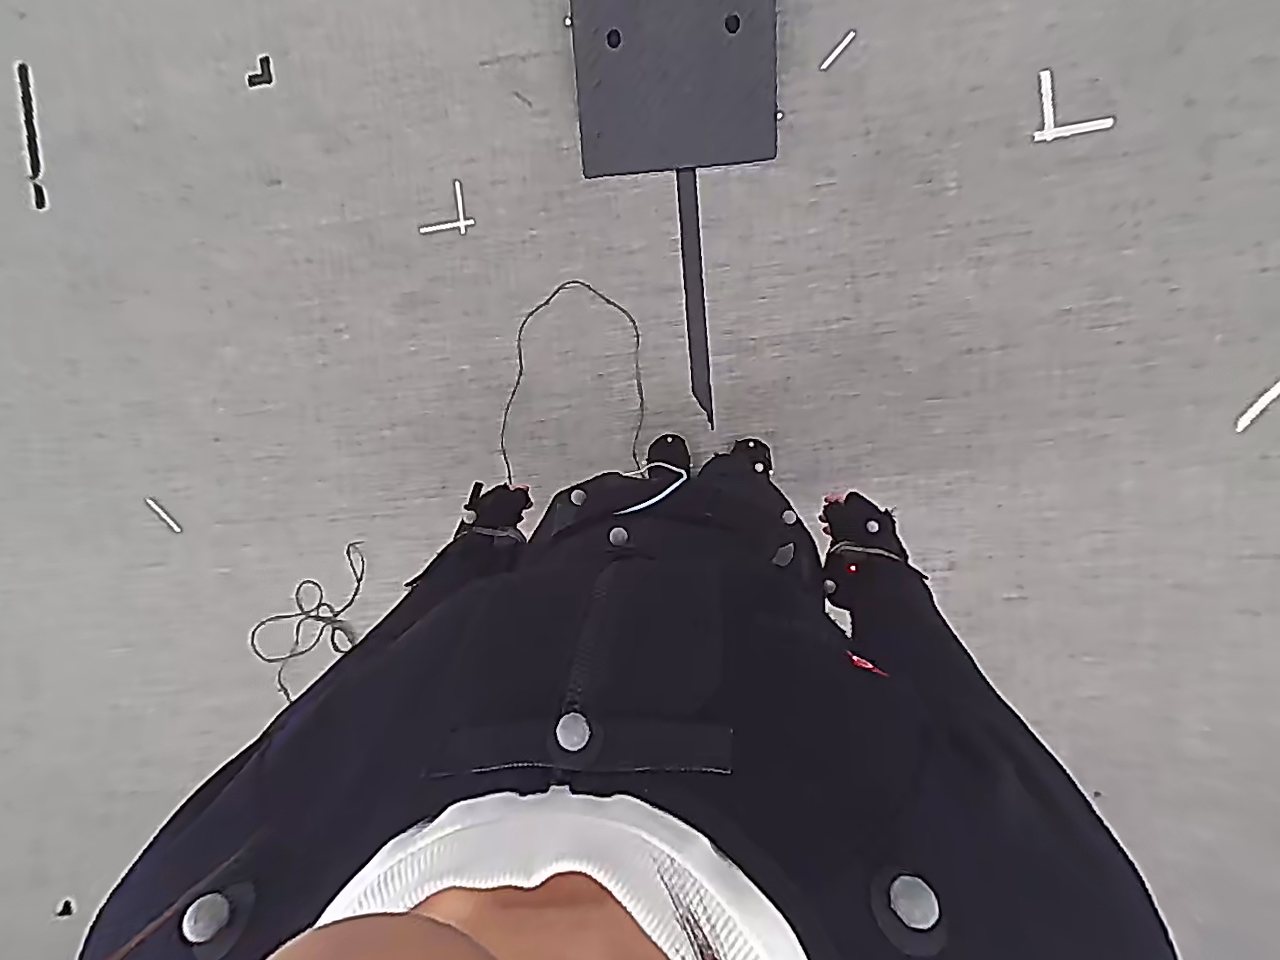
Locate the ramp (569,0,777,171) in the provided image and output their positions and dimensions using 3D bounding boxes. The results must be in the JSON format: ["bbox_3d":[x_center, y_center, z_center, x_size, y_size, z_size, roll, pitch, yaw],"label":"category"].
[{"bbox_3d":[0.064,-1.287,1.241,0.509,0.206,0.991,-4,95,5],"label":"ramp"}]
